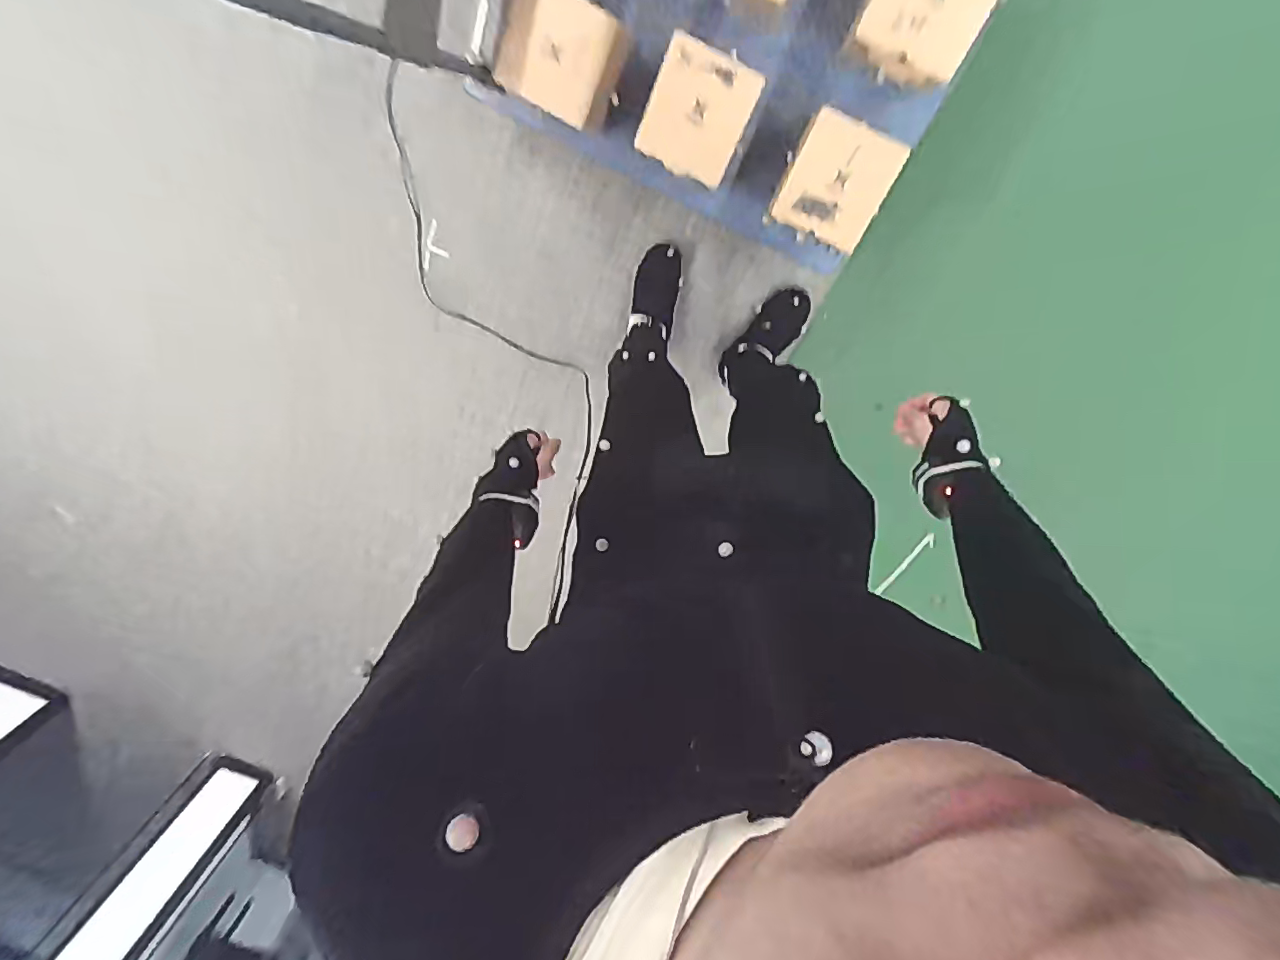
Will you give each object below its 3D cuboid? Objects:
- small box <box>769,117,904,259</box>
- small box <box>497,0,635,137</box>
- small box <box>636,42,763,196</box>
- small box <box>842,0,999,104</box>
[{"bbox_3d":[0.358,-0.547,1.022,0.168,0.176,0.179,24,120,-4],"label":"small box"},{"bbox_3d":[-0.129,-0.749,0.984,0.179,0.176,0.168,27,121,-6],"label":"small box"},{"bbox_3d":[0.112,-0.650,0.992,0.168,0.176,0.179,26,121,-5],"label":"small box"},{"bbox_3d":[0.449,-0.746,0.871,0.168,0.176,0.179,25,120,-3],"label":"small box"}]
